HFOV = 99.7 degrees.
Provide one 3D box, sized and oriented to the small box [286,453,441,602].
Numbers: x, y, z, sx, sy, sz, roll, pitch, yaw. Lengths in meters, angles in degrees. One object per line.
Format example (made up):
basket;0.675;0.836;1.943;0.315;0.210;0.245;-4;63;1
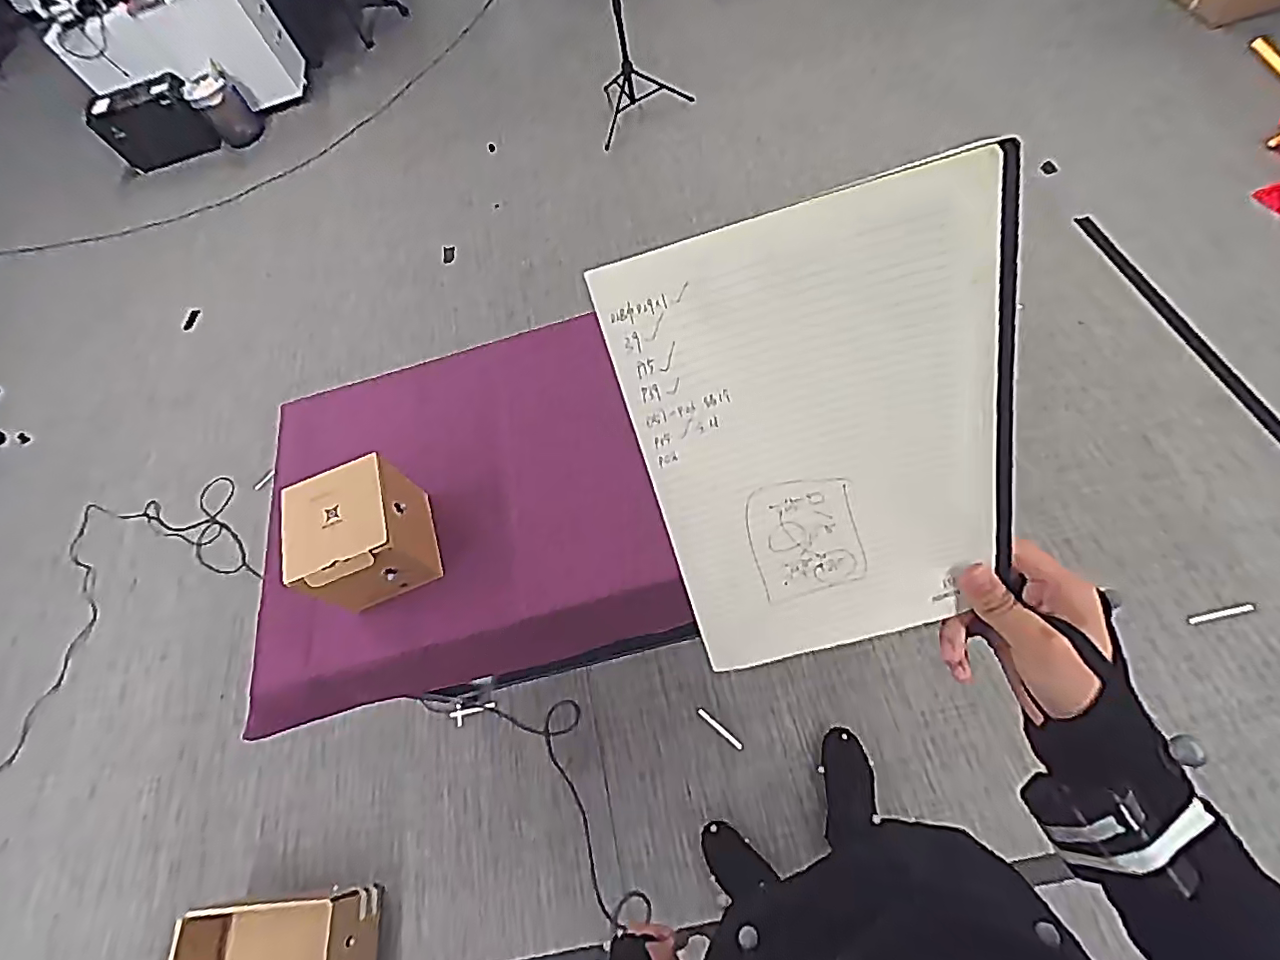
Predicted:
small box;-0.455;0.090;0.905;0.168;0.176;0.179;-22;62;-1
